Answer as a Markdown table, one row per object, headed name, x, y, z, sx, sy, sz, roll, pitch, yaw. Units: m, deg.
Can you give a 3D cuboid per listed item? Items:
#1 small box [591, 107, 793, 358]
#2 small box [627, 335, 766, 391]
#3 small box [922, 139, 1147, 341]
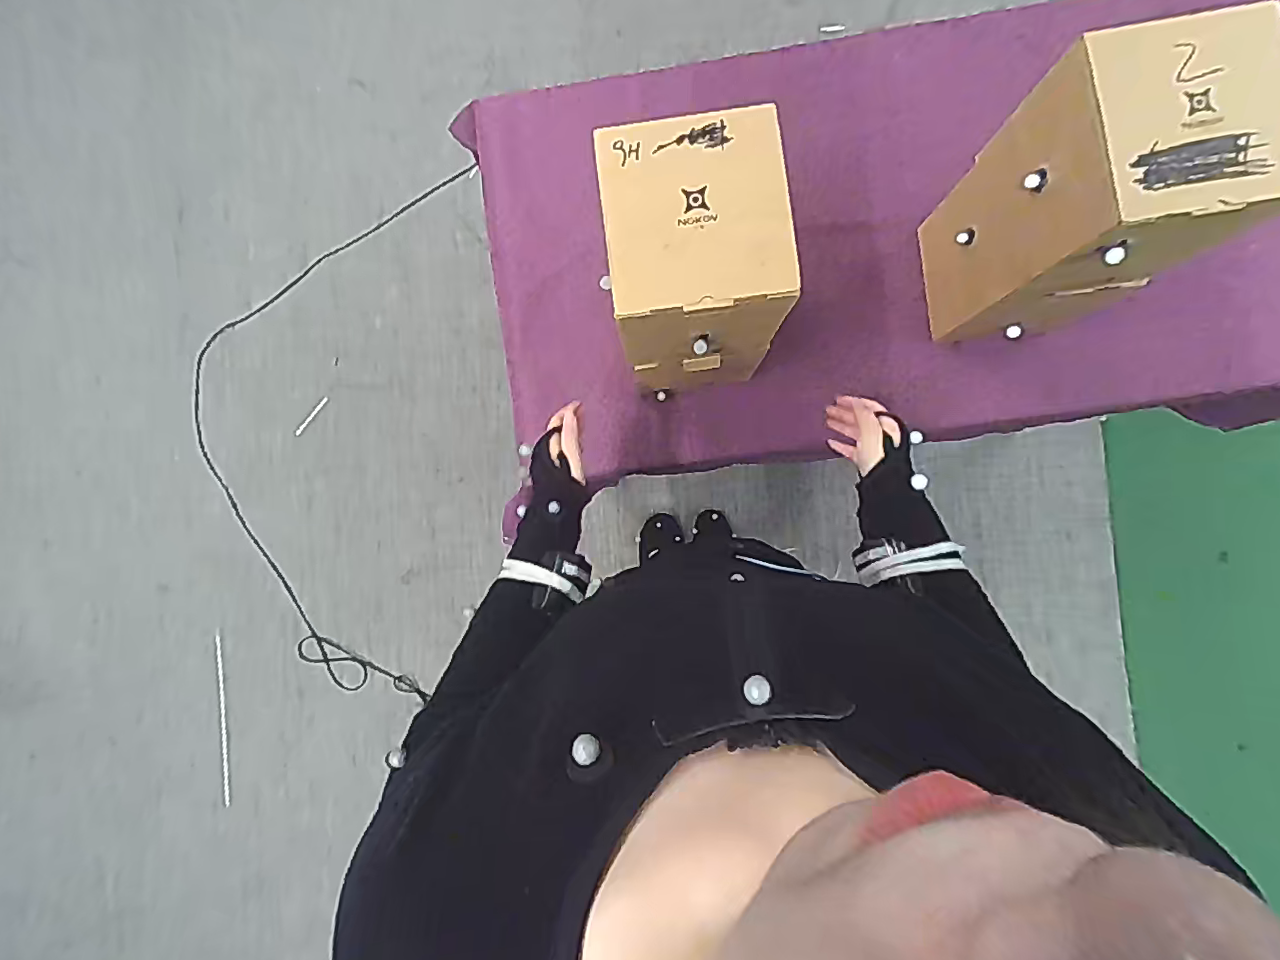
| name | x | y | z | sx | sy | sz | roll | pitch | yaw |
| --- | --- | --- | --- | --- | --- | --- | --- | --- | --- |
| small box | 0.050 | -0.231 | 0.556 | 0.168 | 0.176 | 0.179 | -7 | 88 | 2 |
| small box | 0.062 | -0.223 | 0.720 | 0.168 | 0.176 | 0.179 | -9 | 86 | 2 |
| small box | 0.489 | -0.296 | 0.699 | 0.168 | 0.176 | 0.179 | -6 | 87 | 3 |
